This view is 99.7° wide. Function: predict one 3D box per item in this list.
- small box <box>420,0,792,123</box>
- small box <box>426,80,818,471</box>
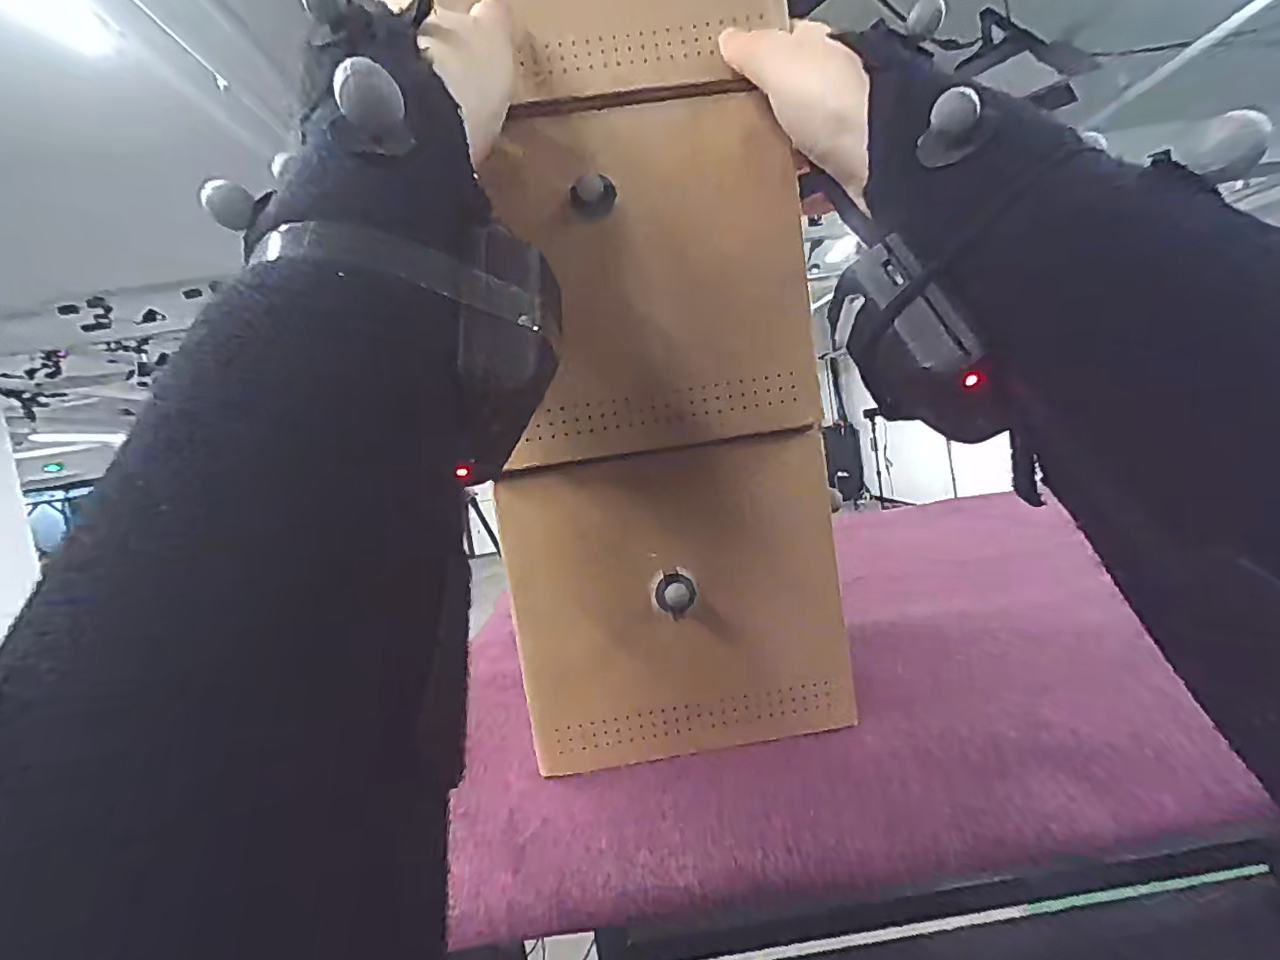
[{"bbox_3d":[-0.027,-0.264,0.325,0.179,0.176,0.168,-10,5,-3],"label":"small box"},{"bbox_3d":[-0.007,-0.101,0.340,0.179,0.176,0.168,-8,5,-2],"label":"small box"}]
